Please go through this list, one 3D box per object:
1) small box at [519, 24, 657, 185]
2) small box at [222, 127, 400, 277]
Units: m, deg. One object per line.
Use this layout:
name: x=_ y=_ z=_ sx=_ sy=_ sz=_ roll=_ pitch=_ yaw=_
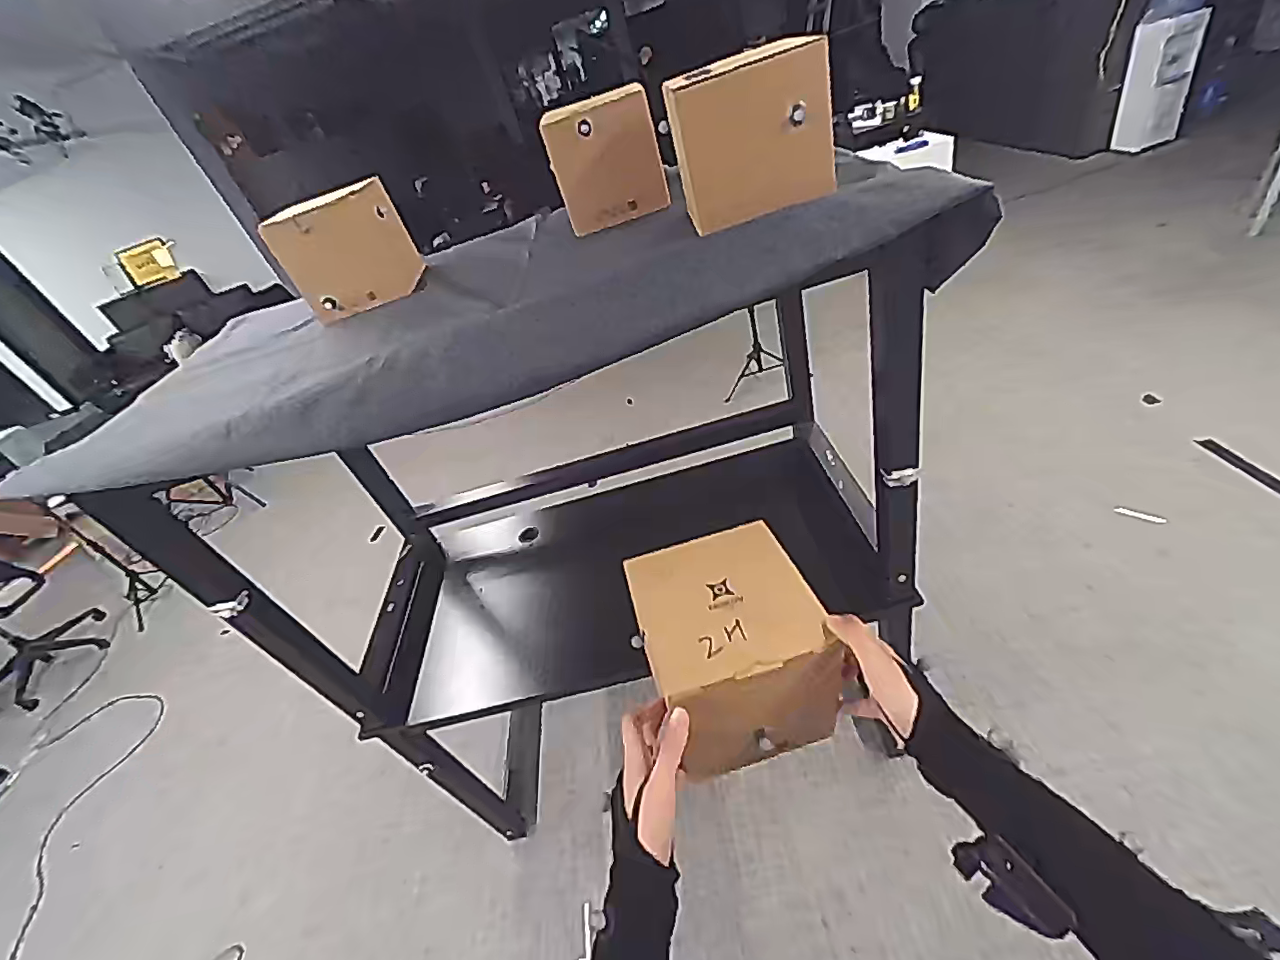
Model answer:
small box: x=-0.077 y=-0.593 z=0.864 sx=0.168 sy=0.176 sz=0.179 roll=-16 pitch=38 yaw=6
small box: x=-0.529 y=-0.460 z=0.903 sx=0.168 sy=0.176 sz=0.179 roll=-18 pitch=38 yaw=2
